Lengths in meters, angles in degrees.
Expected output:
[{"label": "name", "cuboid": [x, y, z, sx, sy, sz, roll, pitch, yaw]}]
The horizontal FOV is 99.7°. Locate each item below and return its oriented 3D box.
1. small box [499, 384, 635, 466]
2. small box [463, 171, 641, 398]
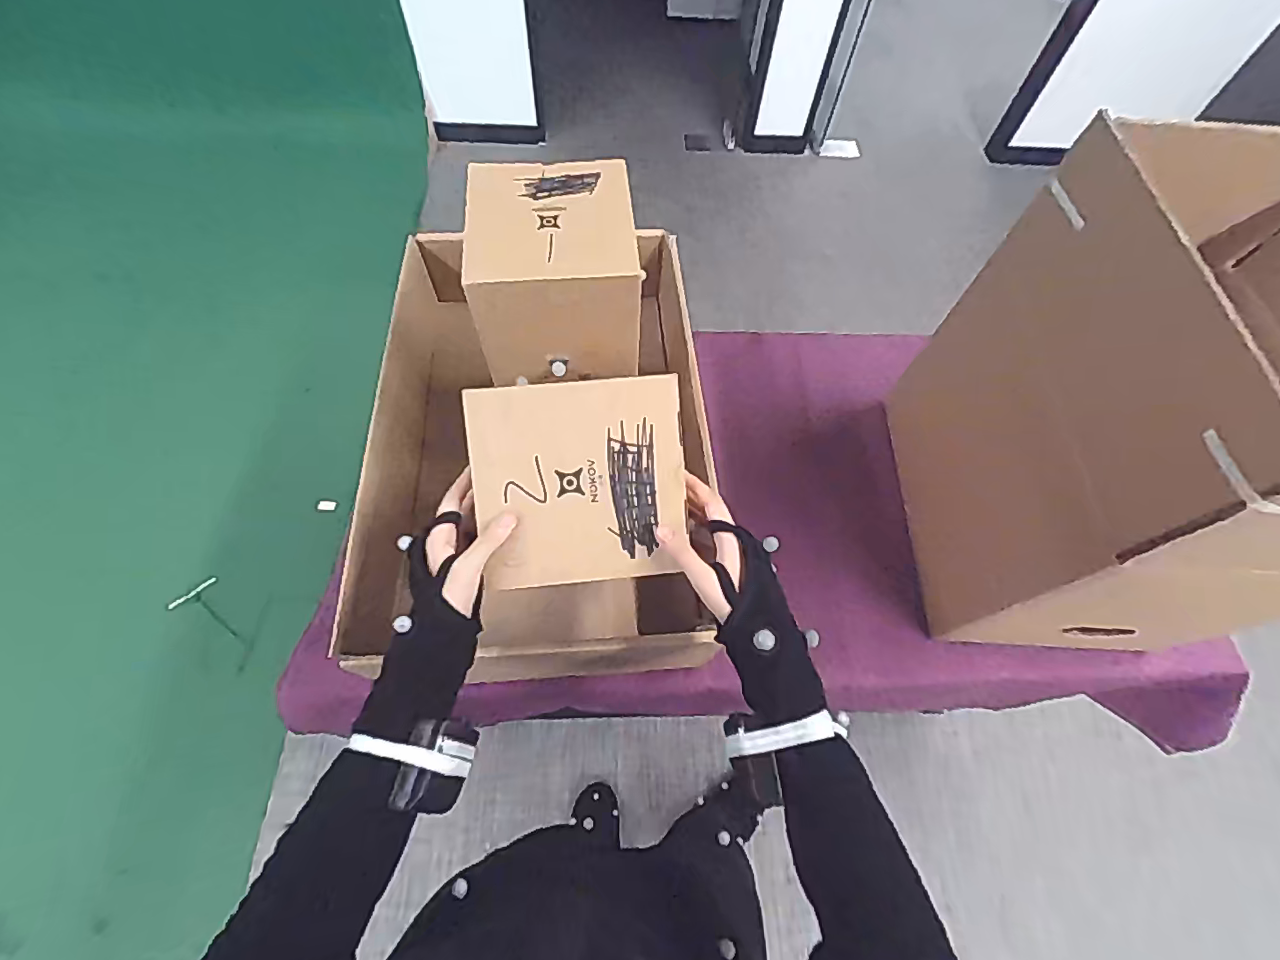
[{"label": "small box", "cuboid": [-0.094, -0.129, 0.747, 0.168, 0.176, 0.179, -5, 62, -4]}, {"label": "small box", "cuboid": [-0.090, -0.213, 0.605, 0.168, 0.176, 0.179, -4, 63, -4]}]
